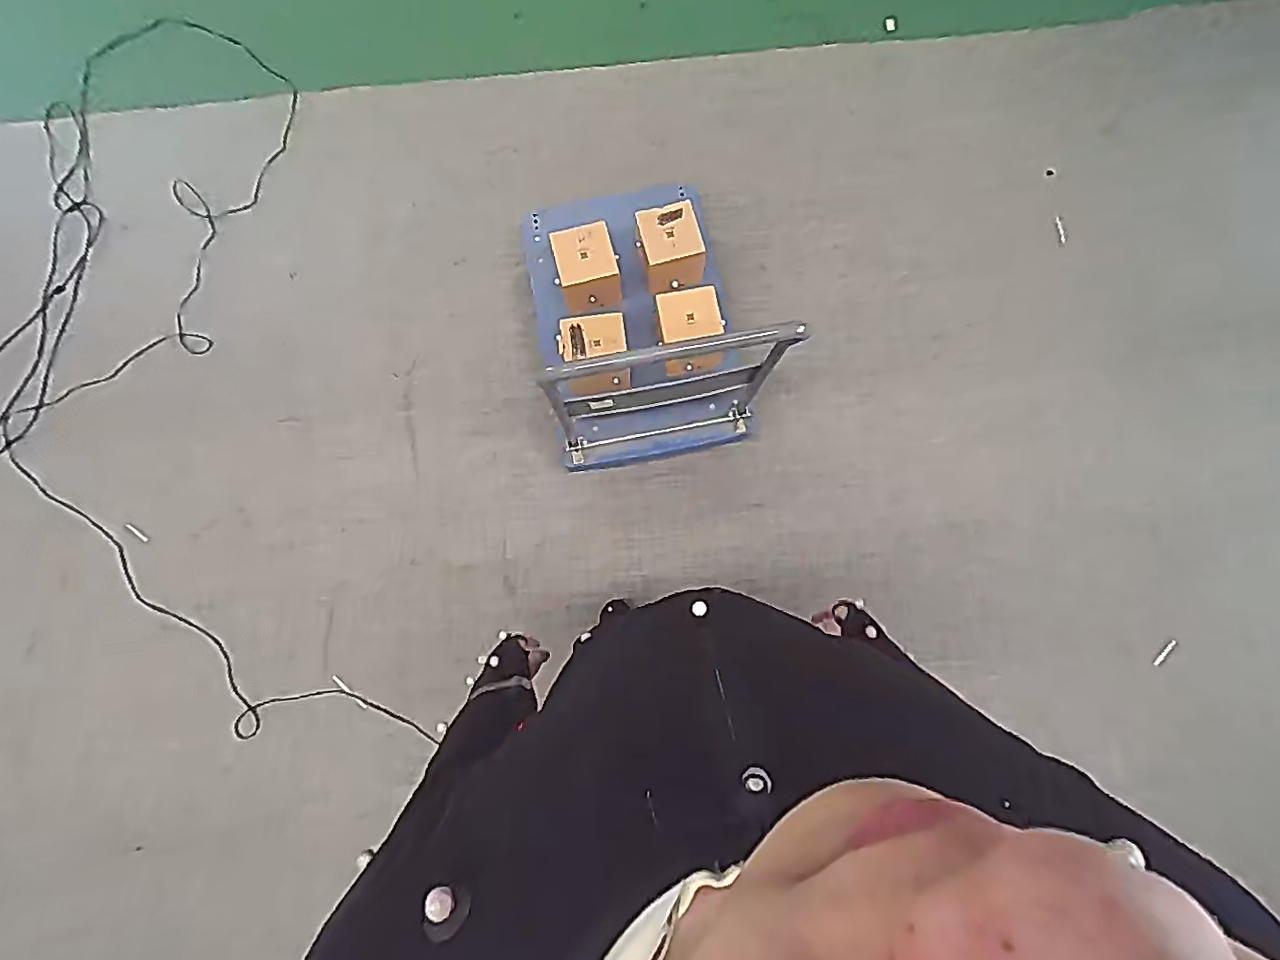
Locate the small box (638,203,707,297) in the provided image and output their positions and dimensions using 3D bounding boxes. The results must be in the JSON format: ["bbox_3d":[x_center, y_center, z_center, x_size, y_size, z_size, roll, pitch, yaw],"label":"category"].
[{"bbox_3d":[0.091,-0.674,1.598,0.168,0.176,0.179,-15,79,-1],"label":"small box"}]

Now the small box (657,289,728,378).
[{"bbox_3d":[0.143,-0.414,1.544,0.168,0.176,0.179,-10,78,-1],"label":"small box"}]

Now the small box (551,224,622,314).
[{"bbox_3d":[-0.152,-0.609,1.589,0.168,0.176,0.179,-14,78,-3],"label":"small box"}]
